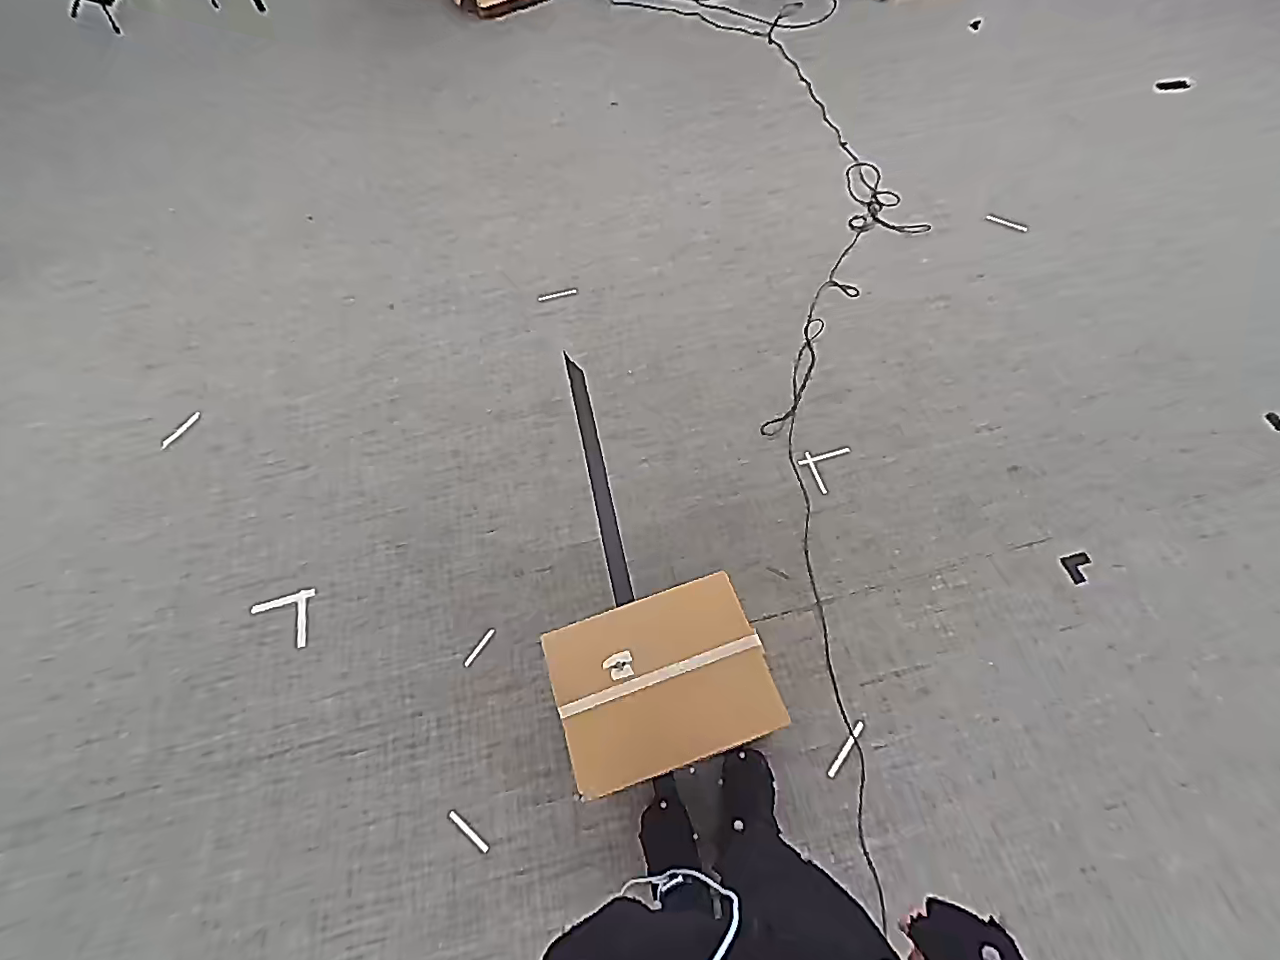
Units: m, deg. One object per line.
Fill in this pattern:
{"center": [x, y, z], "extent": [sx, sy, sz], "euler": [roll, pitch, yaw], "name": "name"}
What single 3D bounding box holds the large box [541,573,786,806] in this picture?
{"center": [0.049, 0.450, 1.166], "extent": [0.408, 0.320, 0.320], "euler": [-19, 61, -3], "name": "large box"}
